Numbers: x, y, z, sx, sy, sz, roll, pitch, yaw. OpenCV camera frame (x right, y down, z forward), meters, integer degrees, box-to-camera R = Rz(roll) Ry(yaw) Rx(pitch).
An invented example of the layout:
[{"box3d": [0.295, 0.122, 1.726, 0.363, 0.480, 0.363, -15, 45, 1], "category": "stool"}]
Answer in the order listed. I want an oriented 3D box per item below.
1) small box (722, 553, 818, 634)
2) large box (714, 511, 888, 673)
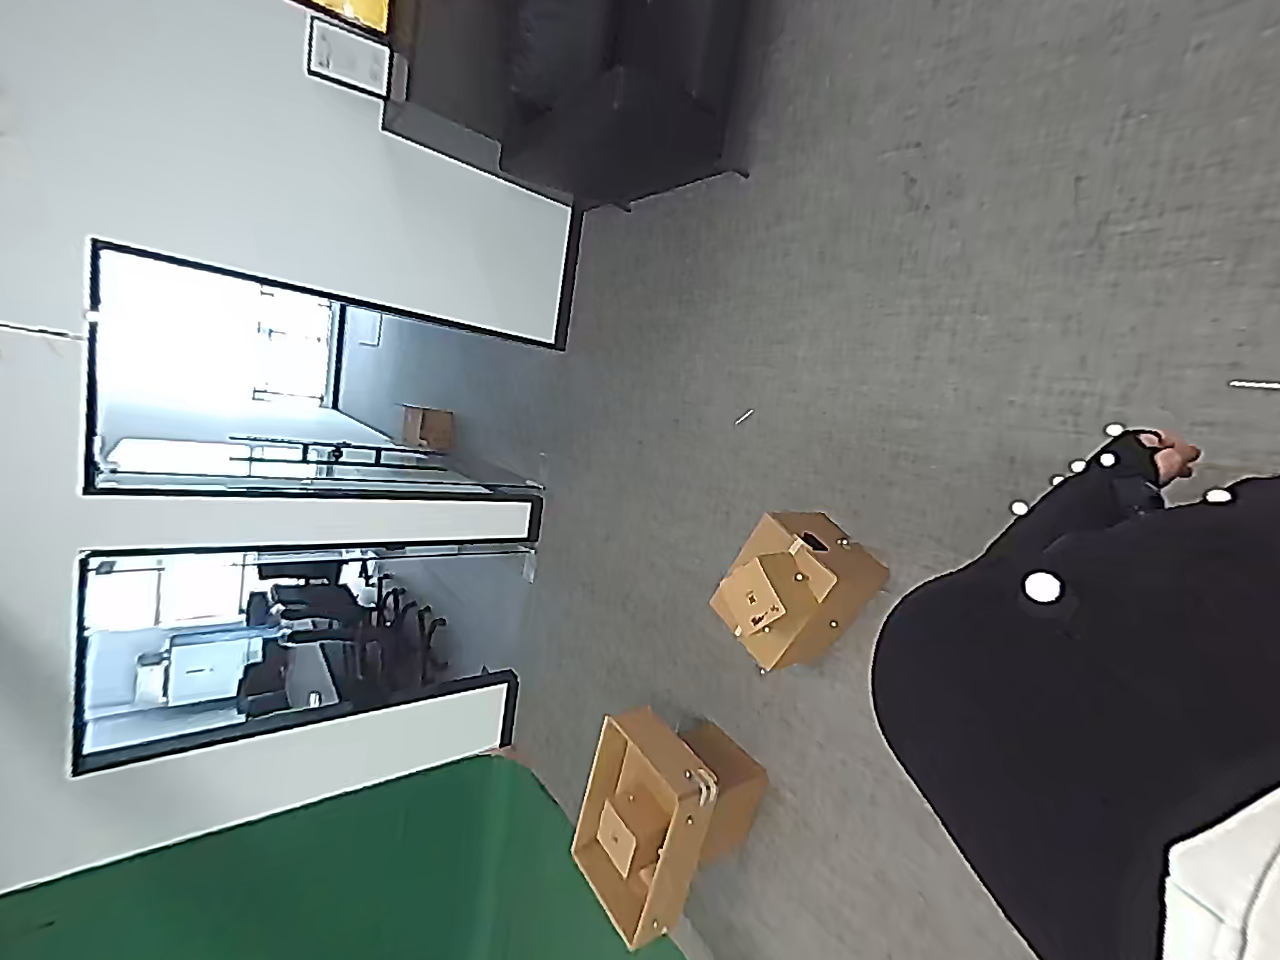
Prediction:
[{"box3d": [0.376, 0.325, 1.561, 0.168, 0.176, 0.179, -47, 55, 38], "category": "small box"}, {"box3d": [0.519, 0.350, 1.772, 0.320, 0.320, 0.408, 49, 124, 41], "category": "large box"}]
